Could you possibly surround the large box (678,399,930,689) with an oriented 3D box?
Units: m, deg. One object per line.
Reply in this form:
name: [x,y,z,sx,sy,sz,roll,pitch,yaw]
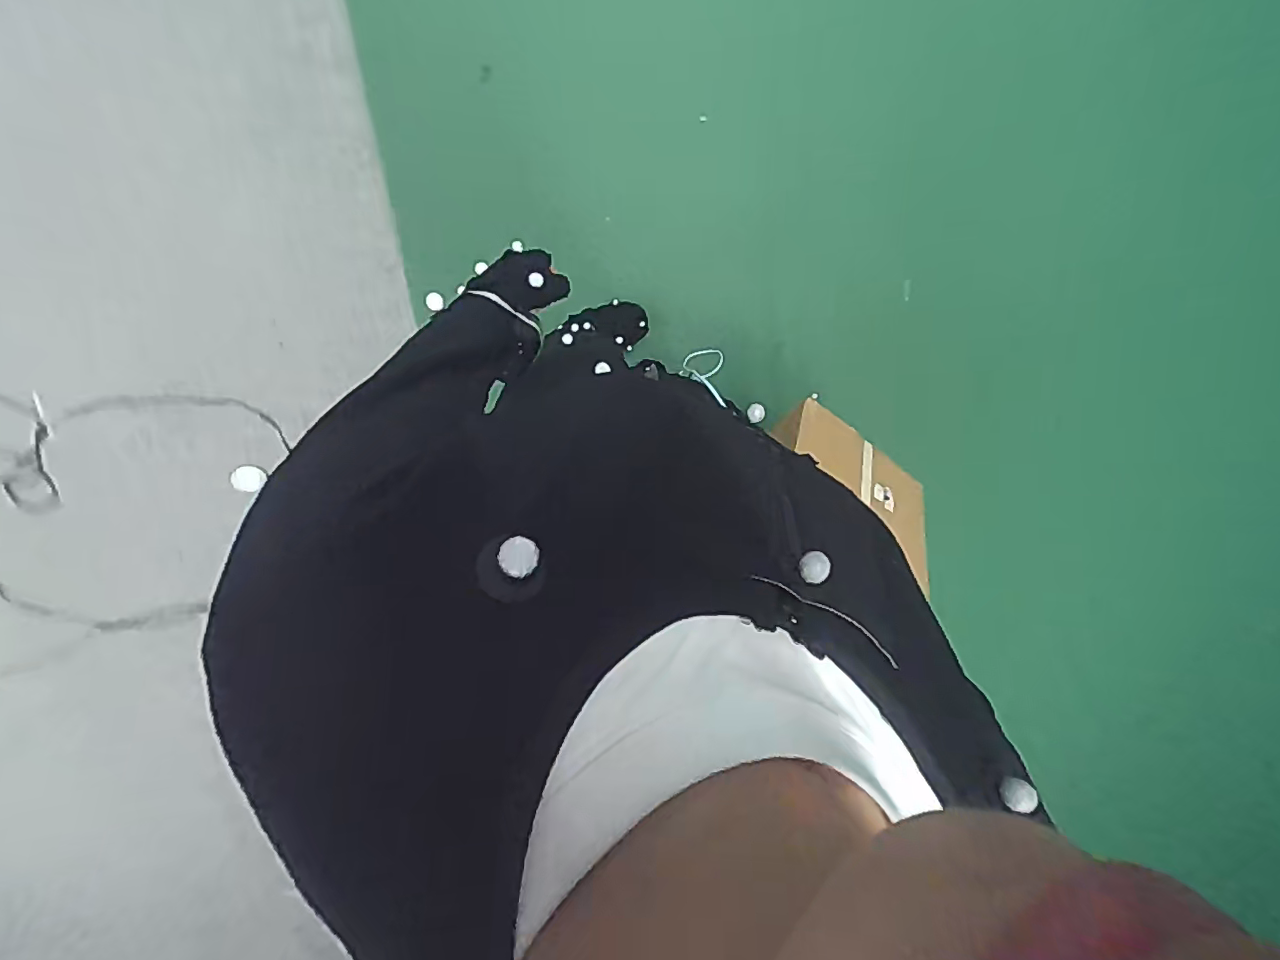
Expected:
large box: [0.321,0.125,1.068,0.320,0.408,0.320,35,134,-7]
